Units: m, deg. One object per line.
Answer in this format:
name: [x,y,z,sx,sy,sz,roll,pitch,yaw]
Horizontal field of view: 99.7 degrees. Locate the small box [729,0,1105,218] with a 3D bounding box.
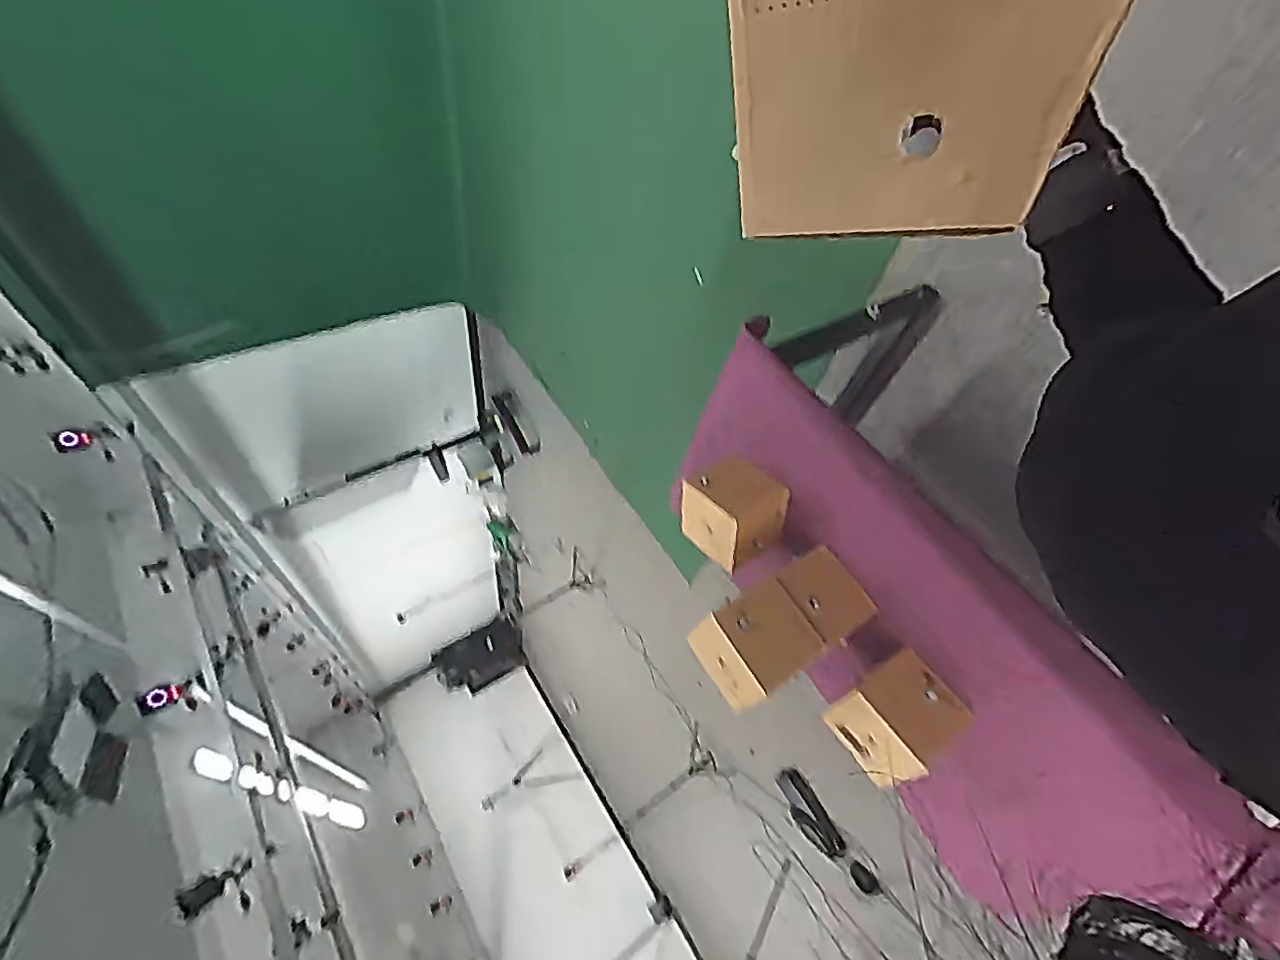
small box: [0.148,-0.284,0.310,0.179,0.168,0.176,5,158,16]

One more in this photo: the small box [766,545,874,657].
small box: [0.358,0.270,1.157,0.179,0.176,0.168,54,151,19]

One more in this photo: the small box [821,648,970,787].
small box: [0.502,0.466,1.066,0.168,0.176,0.179,50,149,25]

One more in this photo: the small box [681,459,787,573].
small box: [0.213,0.074,1.245,0.179,0.176,0.168,39,145,40]

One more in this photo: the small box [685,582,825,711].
small box: [0.225,0.325,1.077,0.179,0.176,0.168,54,151,19]
